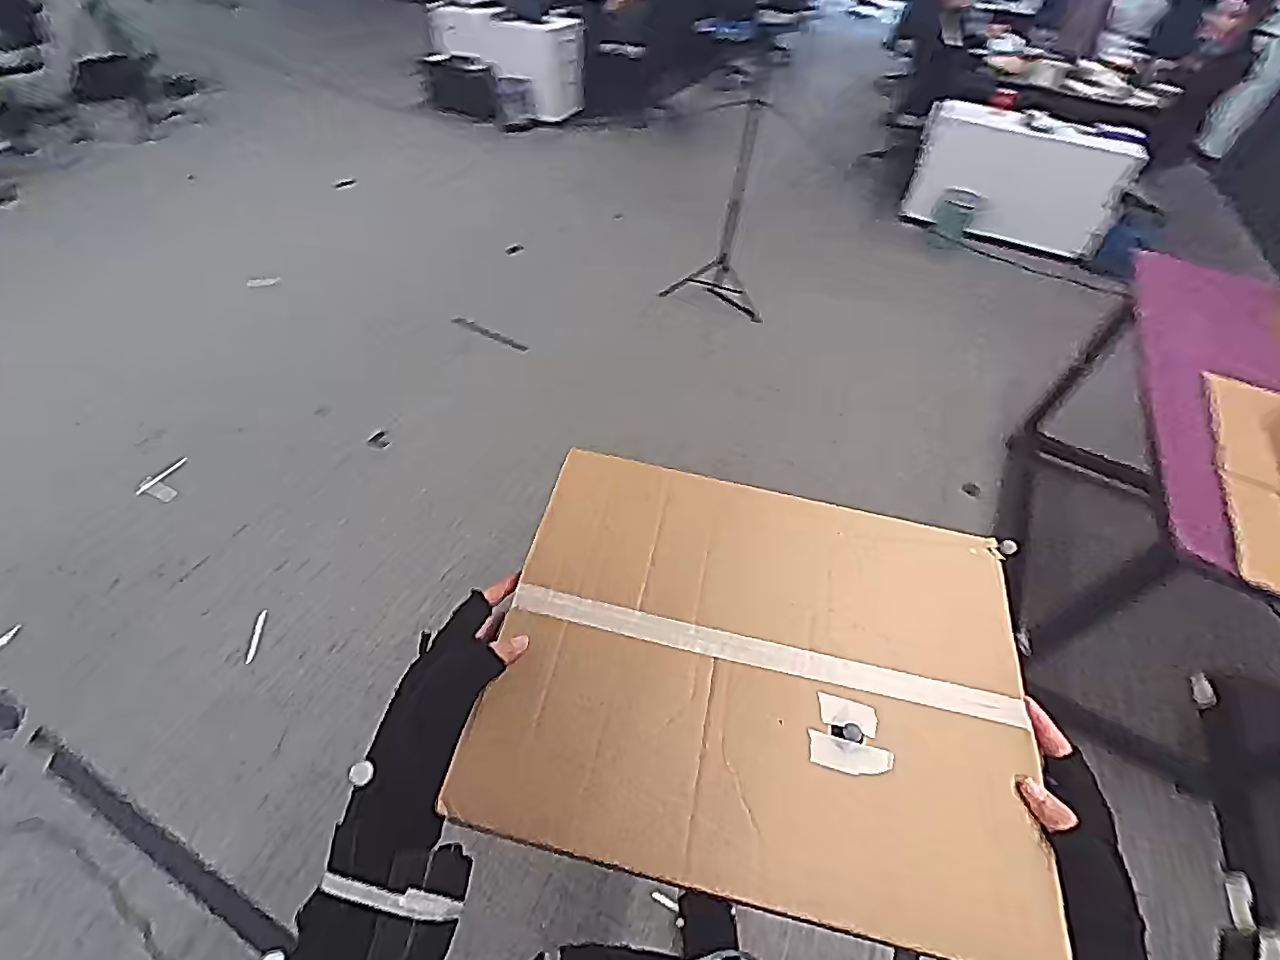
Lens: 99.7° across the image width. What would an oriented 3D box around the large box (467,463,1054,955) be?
[{"bbox_3d":[0.091,0.225,0.562,0.408,0.320,0.320,12,57,4],"label":"large box"}]
